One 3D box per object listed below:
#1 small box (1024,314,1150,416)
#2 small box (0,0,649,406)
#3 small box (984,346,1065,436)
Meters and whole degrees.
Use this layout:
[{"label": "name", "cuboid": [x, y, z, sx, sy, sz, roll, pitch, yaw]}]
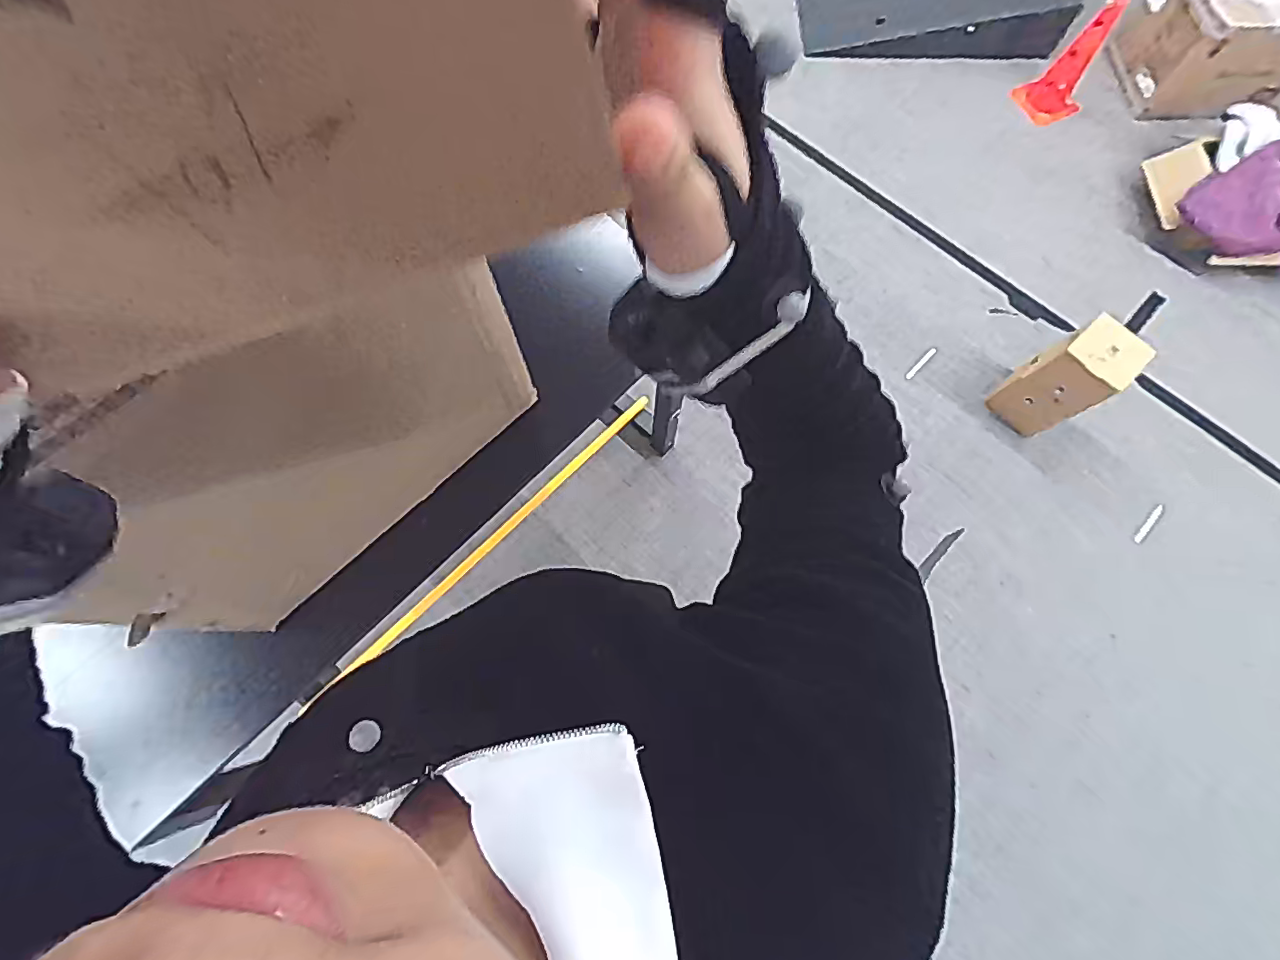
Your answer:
[{"label": "small box", "cuboid": [1.210, -0.309, 1.480, 0.179, 0.176, 0.168, -41, 78, -12]}, {"label": "small box", "cuboid": [-0.106, -0.140, 0.092, 0.168, 0.179, 0.176, -15, 73, 5]}, {"label": "small box", "cuboid": [1.198, -0.264, 1.638, 0.168, 0.176, 0.179, -41, 79, -12]}]
